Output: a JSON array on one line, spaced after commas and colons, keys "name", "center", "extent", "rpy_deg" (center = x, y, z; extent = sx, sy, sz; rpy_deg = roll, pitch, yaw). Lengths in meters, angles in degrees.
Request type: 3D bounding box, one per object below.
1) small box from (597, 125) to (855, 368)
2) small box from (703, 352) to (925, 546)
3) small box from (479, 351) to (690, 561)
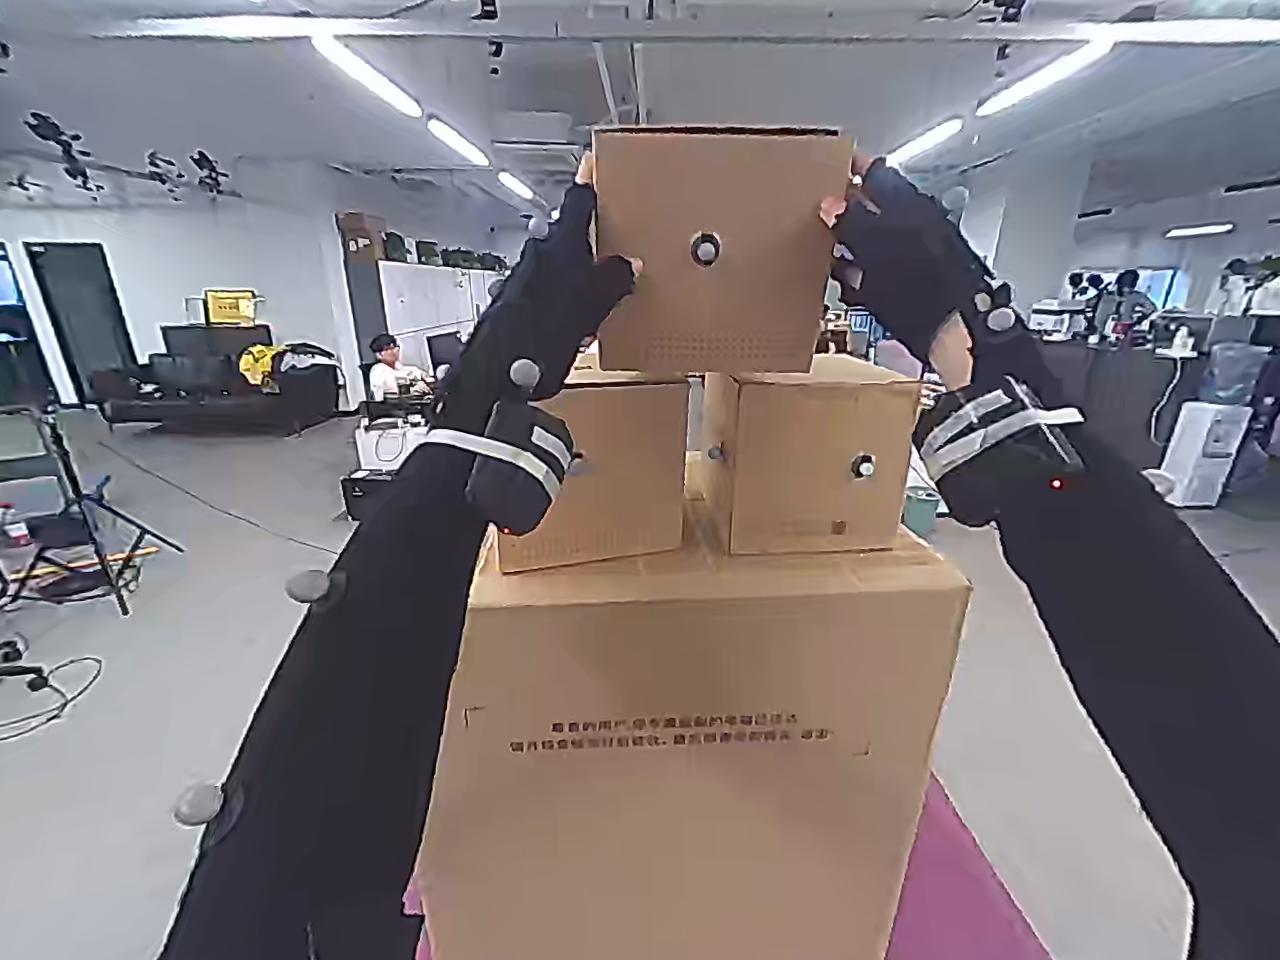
[{"name": "small box", "center": [0.056, -0.200, 0.466], "extent": [0.179, 0.176, 0.168], "rpy_deg": [0, 30, -1]}, {"name": "small box", "center": [0.163, -0.038, 0.566], "extent": [0.168, 0.176, 0.179], "rpy_deg": [0, 19, -4]}, {"name": "small box", "center": [-0.061, -0.032, 0.541], "extent": [0.179, 0.176, 0.168], "rpy_deg": [-5, 22, -17]}]
